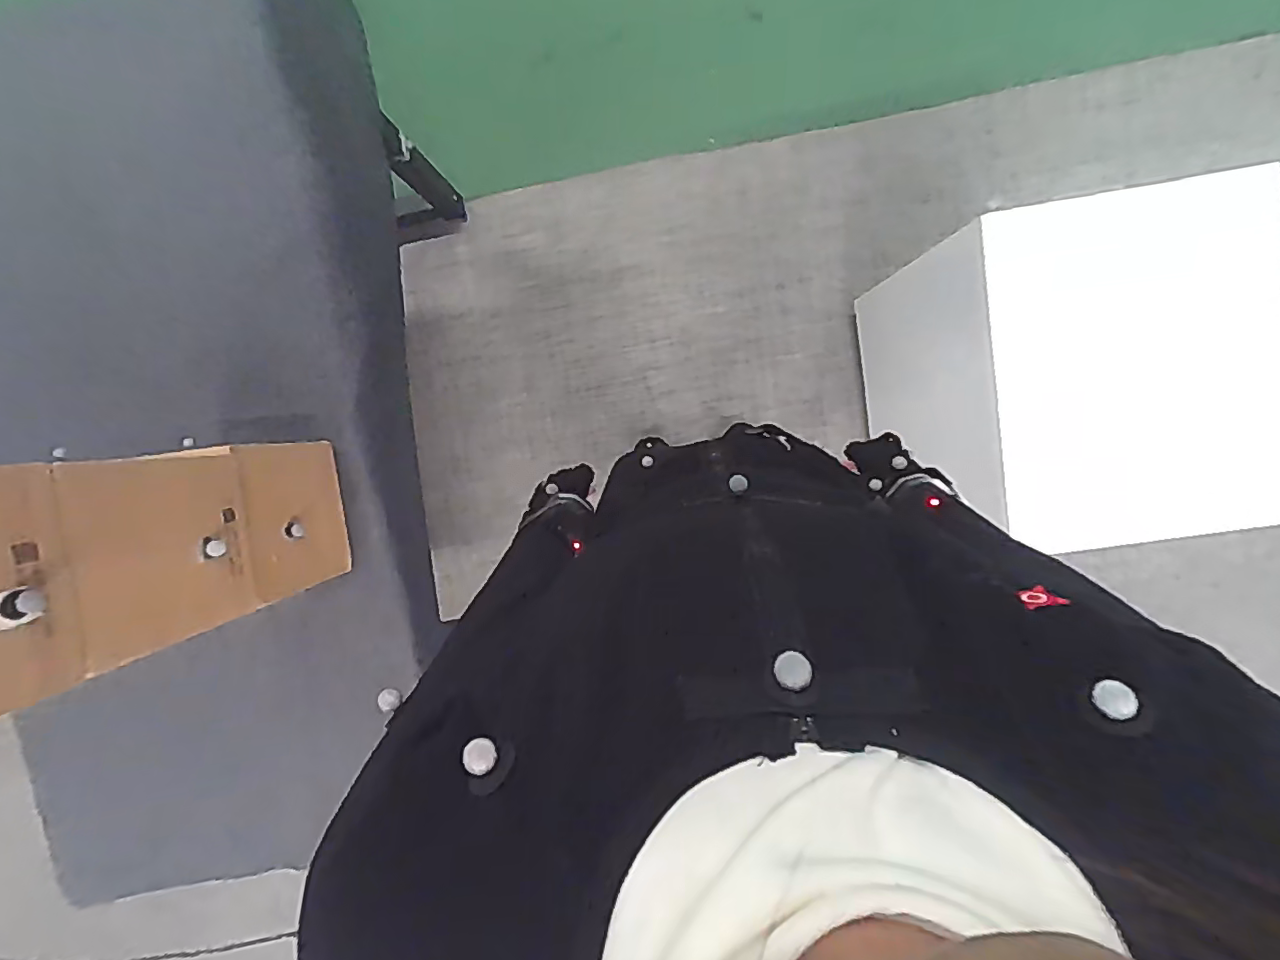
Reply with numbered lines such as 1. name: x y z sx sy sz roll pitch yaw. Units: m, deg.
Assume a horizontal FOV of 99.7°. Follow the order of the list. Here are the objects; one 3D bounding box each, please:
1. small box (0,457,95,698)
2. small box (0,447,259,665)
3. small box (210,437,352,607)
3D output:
1. small box: -0.515 0.078 0.337 0.179 0.176 0.168 -5 97 5
2. small box: -0.503 0.061 0.498 0.179 0.176 0.168 -6 95 8
3. small box: -0.484 0.045 0.660 0.168 0.176 0.179 -6 96 6
